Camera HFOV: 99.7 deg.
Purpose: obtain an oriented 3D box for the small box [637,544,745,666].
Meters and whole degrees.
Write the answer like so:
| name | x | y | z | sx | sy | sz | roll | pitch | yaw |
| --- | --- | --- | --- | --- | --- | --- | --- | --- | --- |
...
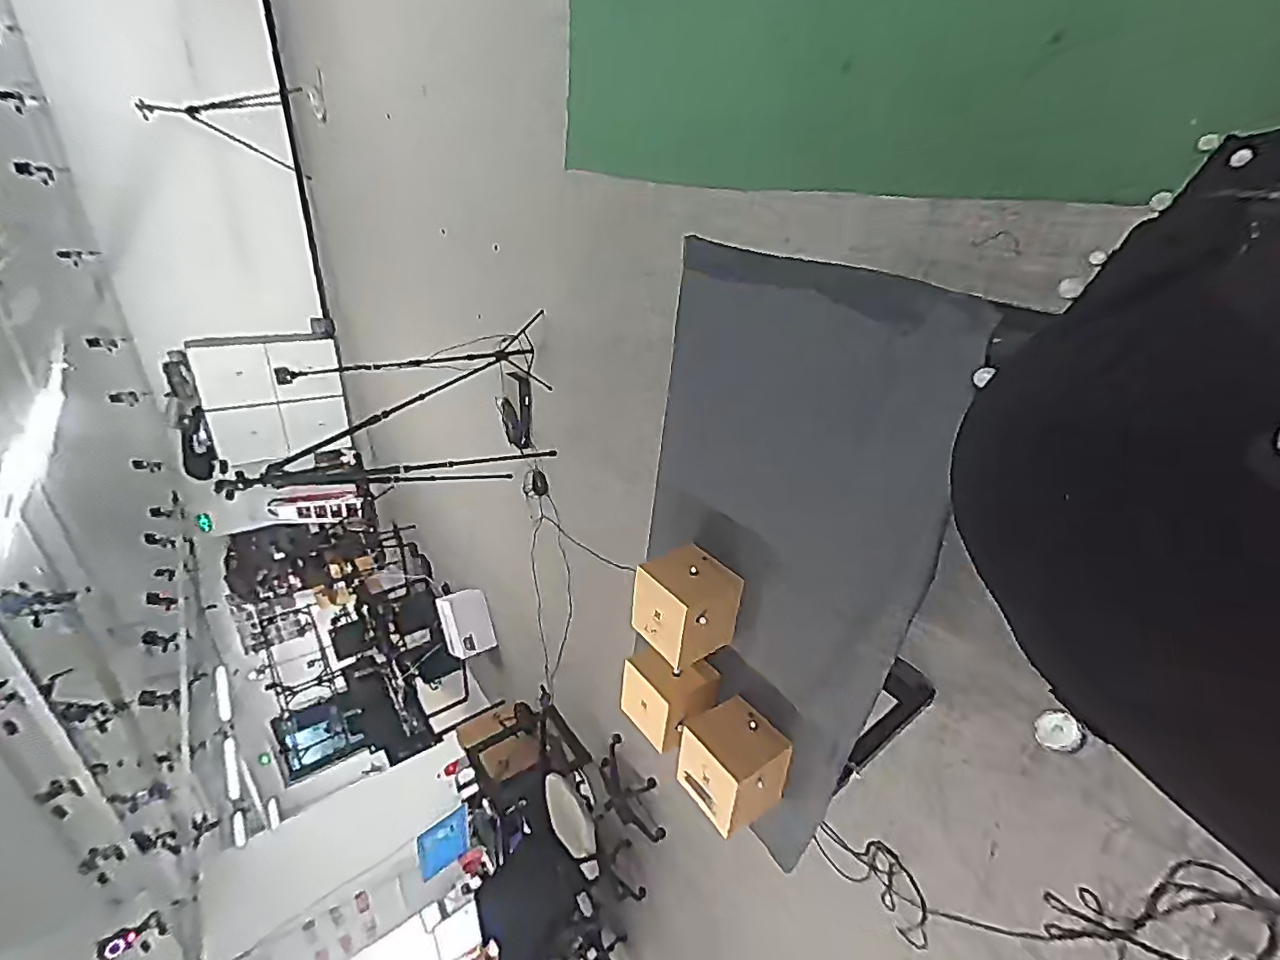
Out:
| name | x | y | z | sx | sy | sz | roll | pitch | yaw |
| --- | --- | --- | --- | --- | --- | --- | --- | --- | --- |
| small box | 0.113 | 0.266 | 1.197 | 0.168 | 0.176 | 0.179 | 34 | 129 | 44 |

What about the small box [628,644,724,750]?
| name | x | y | z | sx | sy | sz | roll | pitch | yaw |
| --- | --- | --- | --- | --- | --- | --- | --- | --- | --- |
| small box | 0.089 | 0.514 | 1.339 | 0.168 | 0.176 | 0.179 | 33 | 129 | 44 |
